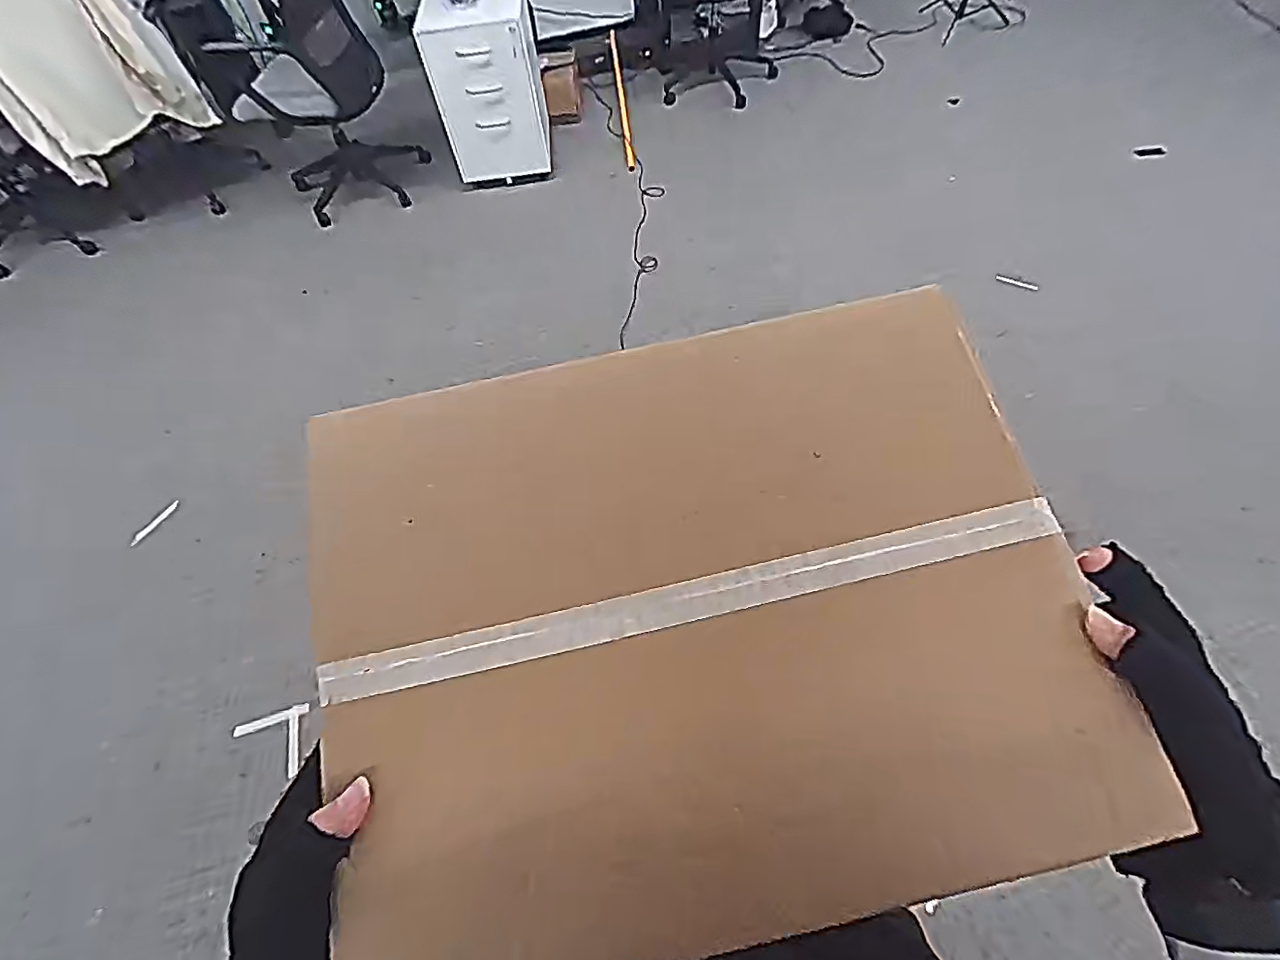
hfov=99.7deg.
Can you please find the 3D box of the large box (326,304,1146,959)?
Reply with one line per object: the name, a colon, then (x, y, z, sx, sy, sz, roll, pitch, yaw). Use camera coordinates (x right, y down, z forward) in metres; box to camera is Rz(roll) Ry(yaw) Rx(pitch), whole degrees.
large box: (0.035, 0.112, 0.446, 0.408, 0.320, 0.320, -13, 72, -2)
